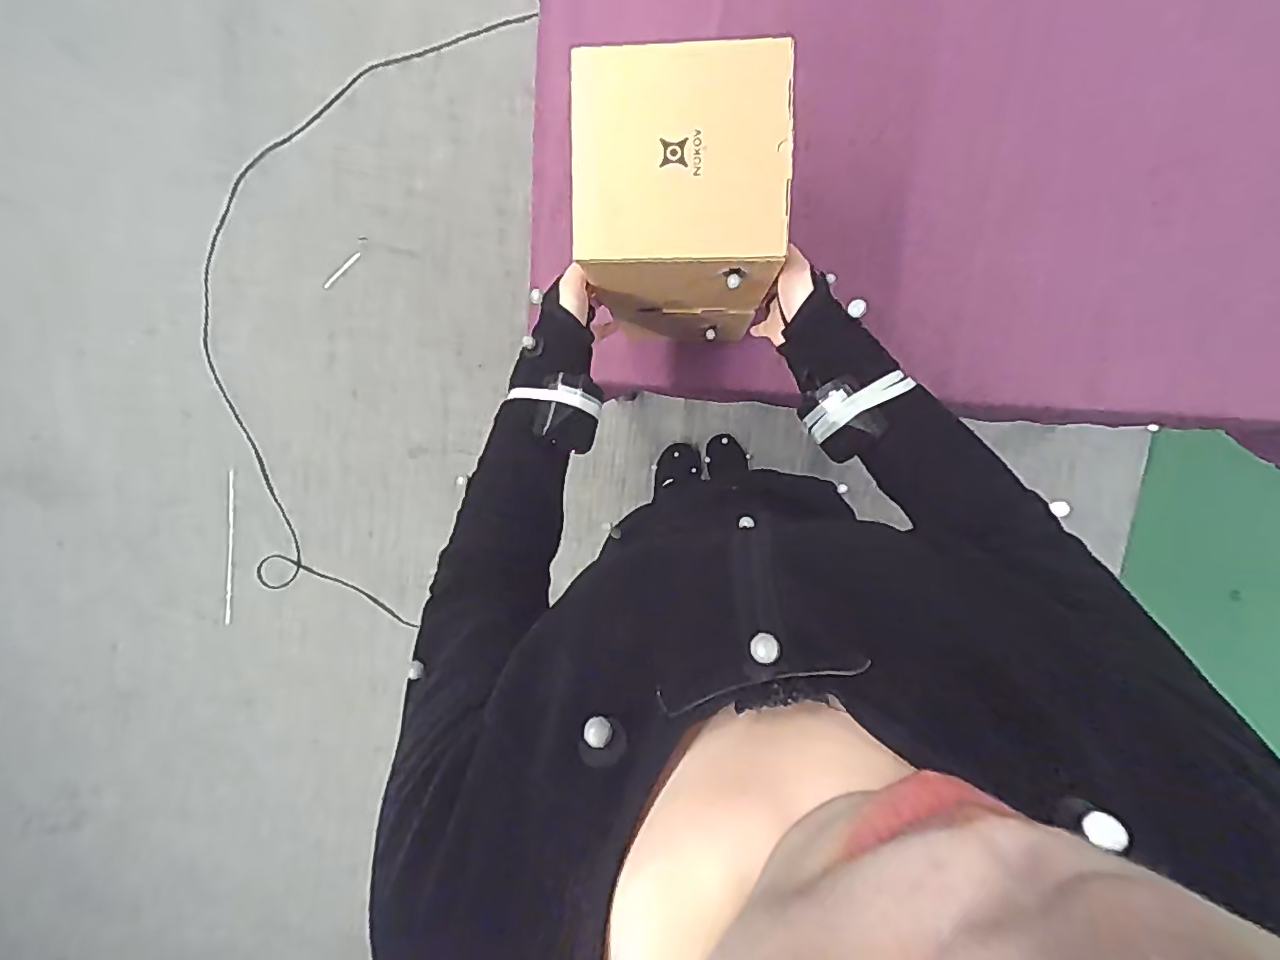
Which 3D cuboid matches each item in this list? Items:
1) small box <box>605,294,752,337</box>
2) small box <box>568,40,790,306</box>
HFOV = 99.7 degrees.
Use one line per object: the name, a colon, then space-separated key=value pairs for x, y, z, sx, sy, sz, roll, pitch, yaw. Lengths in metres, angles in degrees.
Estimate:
small box: x=0.052 y=-0.279 z=0.671 sx=0.168 sy=0.176 sz=0.179 roll=3 pitch=95 yaw=4
small box: x=0.035 y=-0.267 z=0.510 sx=0.179 sy=0.176 sz=0.168 roll=0 pitch=95 yaw=3
